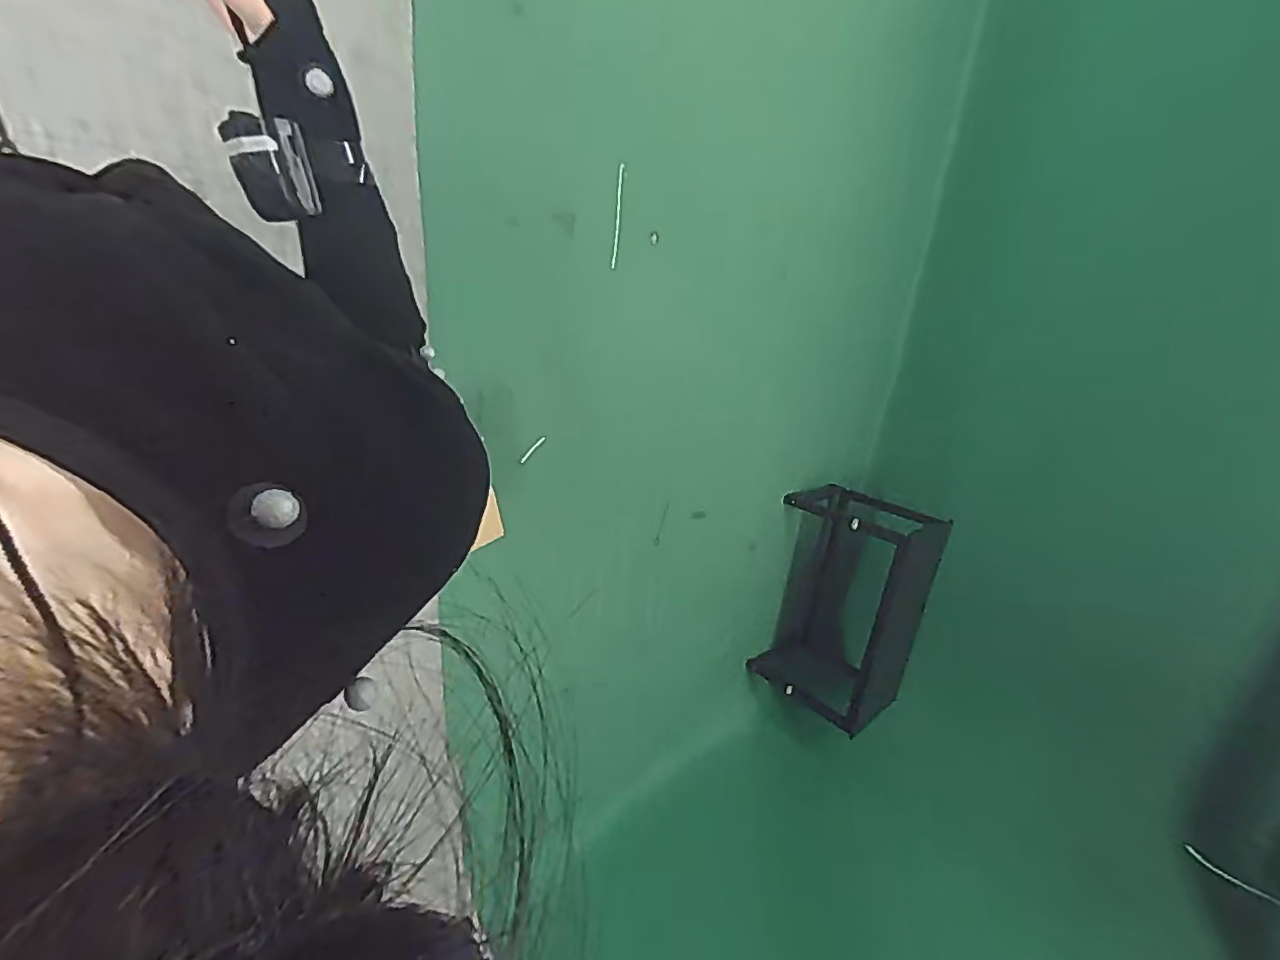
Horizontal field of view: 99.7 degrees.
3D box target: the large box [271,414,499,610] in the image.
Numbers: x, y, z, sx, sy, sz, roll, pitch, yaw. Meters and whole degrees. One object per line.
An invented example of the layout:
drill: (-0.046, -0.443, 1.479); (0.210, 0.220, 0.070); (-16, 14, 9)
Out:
large box: (-0.650, 0.057, 1.411); (0.408, 0.320, 0.320); (-29, 127, -35)
